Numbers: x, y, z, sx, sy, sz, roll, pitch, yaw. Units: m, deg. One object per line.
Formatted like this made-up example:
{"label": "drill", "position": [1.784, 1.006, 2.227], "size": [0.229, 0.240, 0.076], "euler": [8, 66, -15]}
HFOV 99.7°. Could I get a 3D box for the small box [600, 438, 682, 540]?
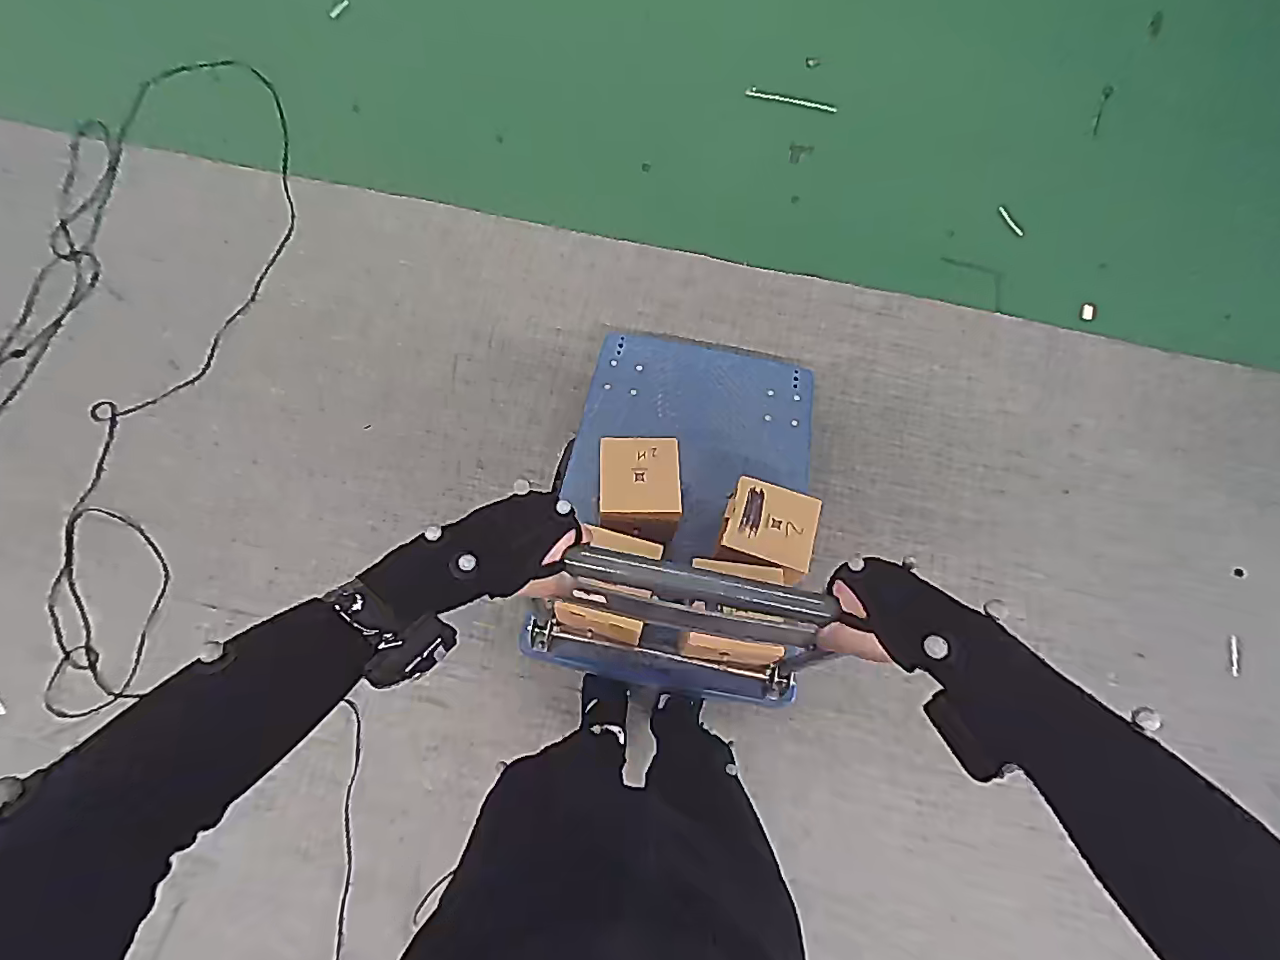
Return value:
{"label": "small box", "position": [-0.002, 0.025, 1.175], "size": [0.168, 0.176, 0.179], "euler": [1, 63, -4]}
